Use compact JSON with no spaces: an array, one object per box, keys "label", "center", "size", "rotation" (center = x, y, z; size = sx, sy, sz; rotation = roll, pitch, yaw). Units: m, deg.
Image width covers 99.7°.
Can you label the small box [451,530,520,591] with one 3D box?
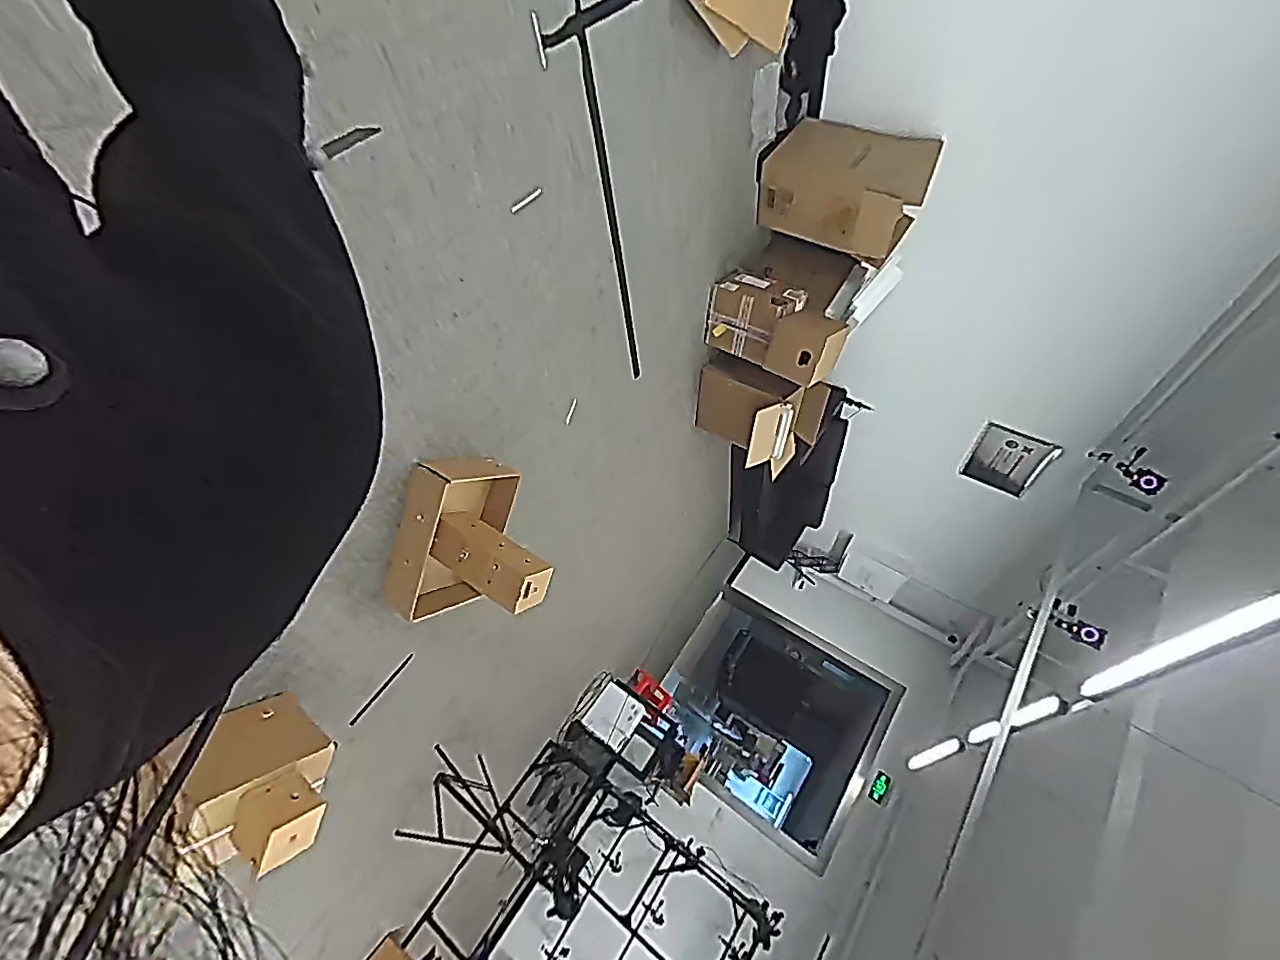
[{"label":"small box","center":[-0.605,0.309,2.124],"size":[0.179,0.176,0.168],"rotation":[-6,120,-62]}]

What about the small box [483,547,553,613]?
[{"label":"small box","center":[-0.468,0.377,2.062],"size":[0.179,0.176,0.168],"rotation":[-10,124,-63]}]

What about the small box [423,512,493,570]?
[{"label":"small box","center":[-0.737,0.239,2.187],"size":[0.179,0.176,0.168],"rotation":[-4,118,-63]}]

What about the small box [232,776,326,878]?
[{"label":"small box","center":[-1.104,1.042,1.649],"size":[0.168,0.176,0.179],"rotation":[1,115,-63]}]
